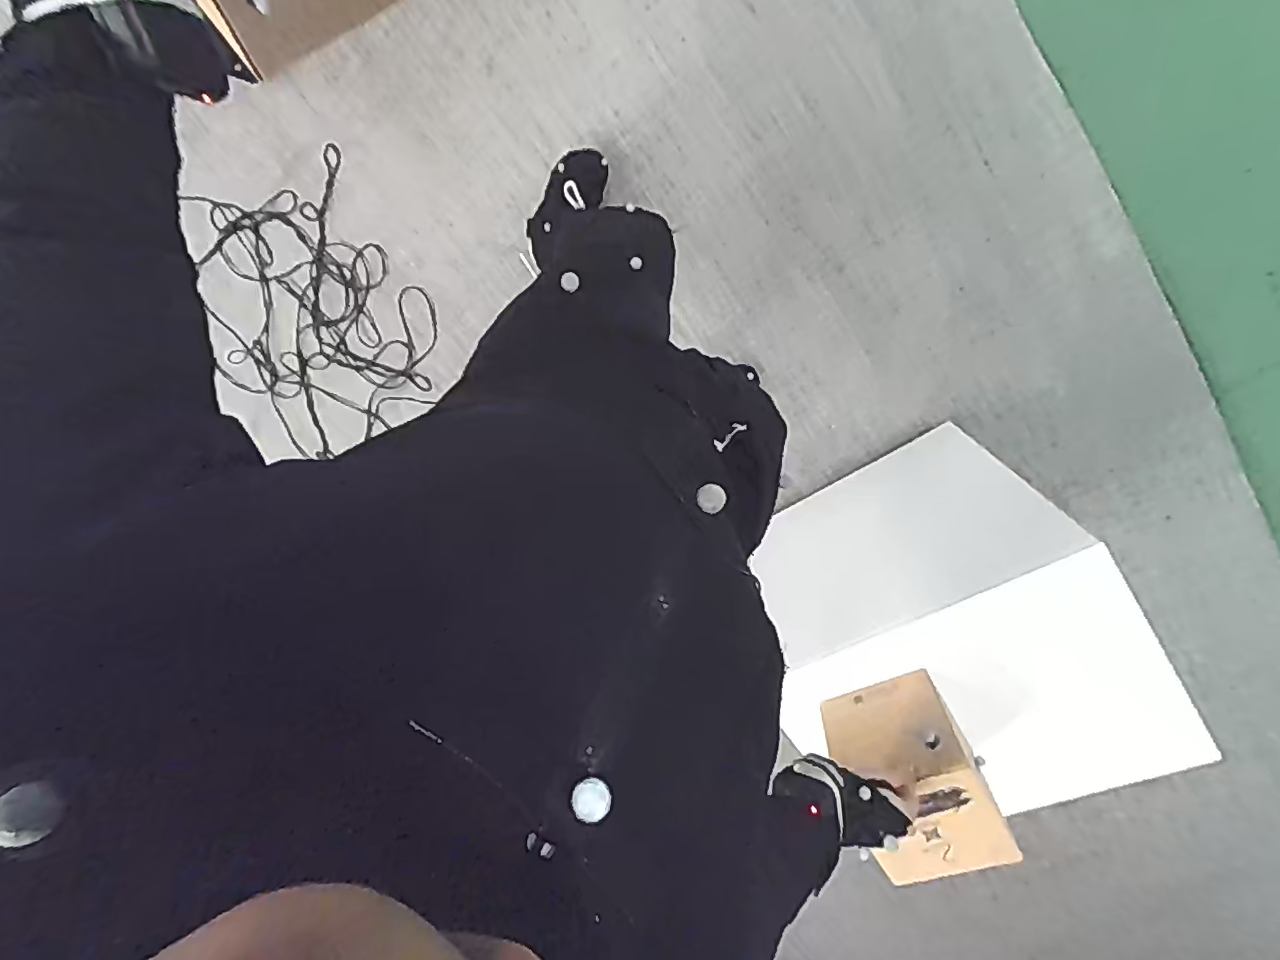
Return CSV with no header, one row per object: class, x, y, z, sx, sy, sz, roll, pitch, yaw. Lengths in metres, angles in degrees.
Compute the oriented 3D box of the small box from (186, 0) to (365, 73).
small box,-0.319,-0.473,0.416,0.176,0.179,0.168,-40,116,-9
